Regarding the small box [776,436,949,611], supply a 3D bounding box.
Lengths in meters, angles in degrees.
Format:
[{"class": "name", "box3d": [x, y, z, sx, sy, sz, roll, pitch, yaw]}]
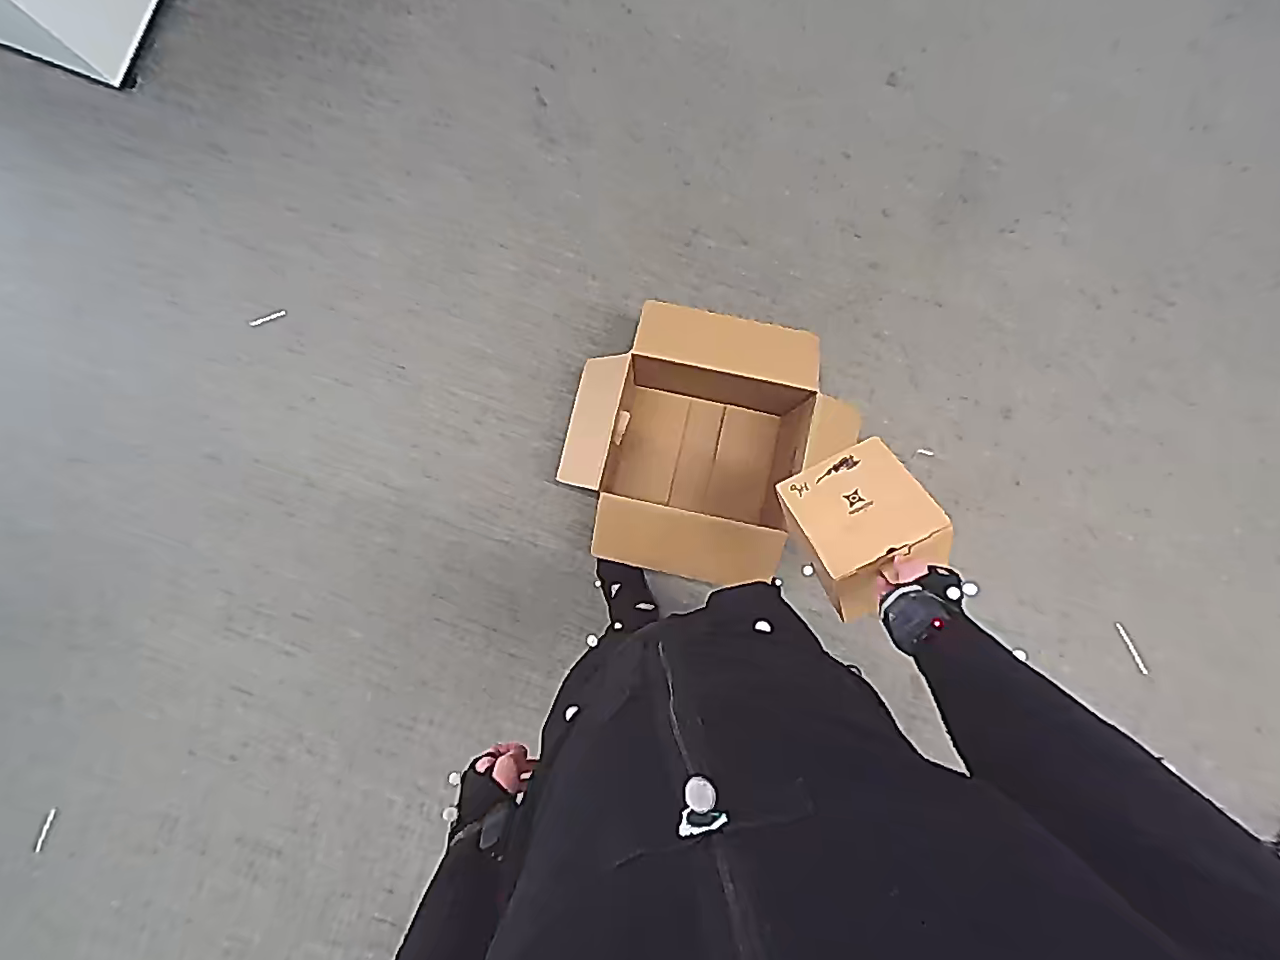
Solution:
[{"class": "small box", "box3d": [0.325, 0.074, 0.802, 0.168, 0.176, 0.179, -26, 49, 6]}]
